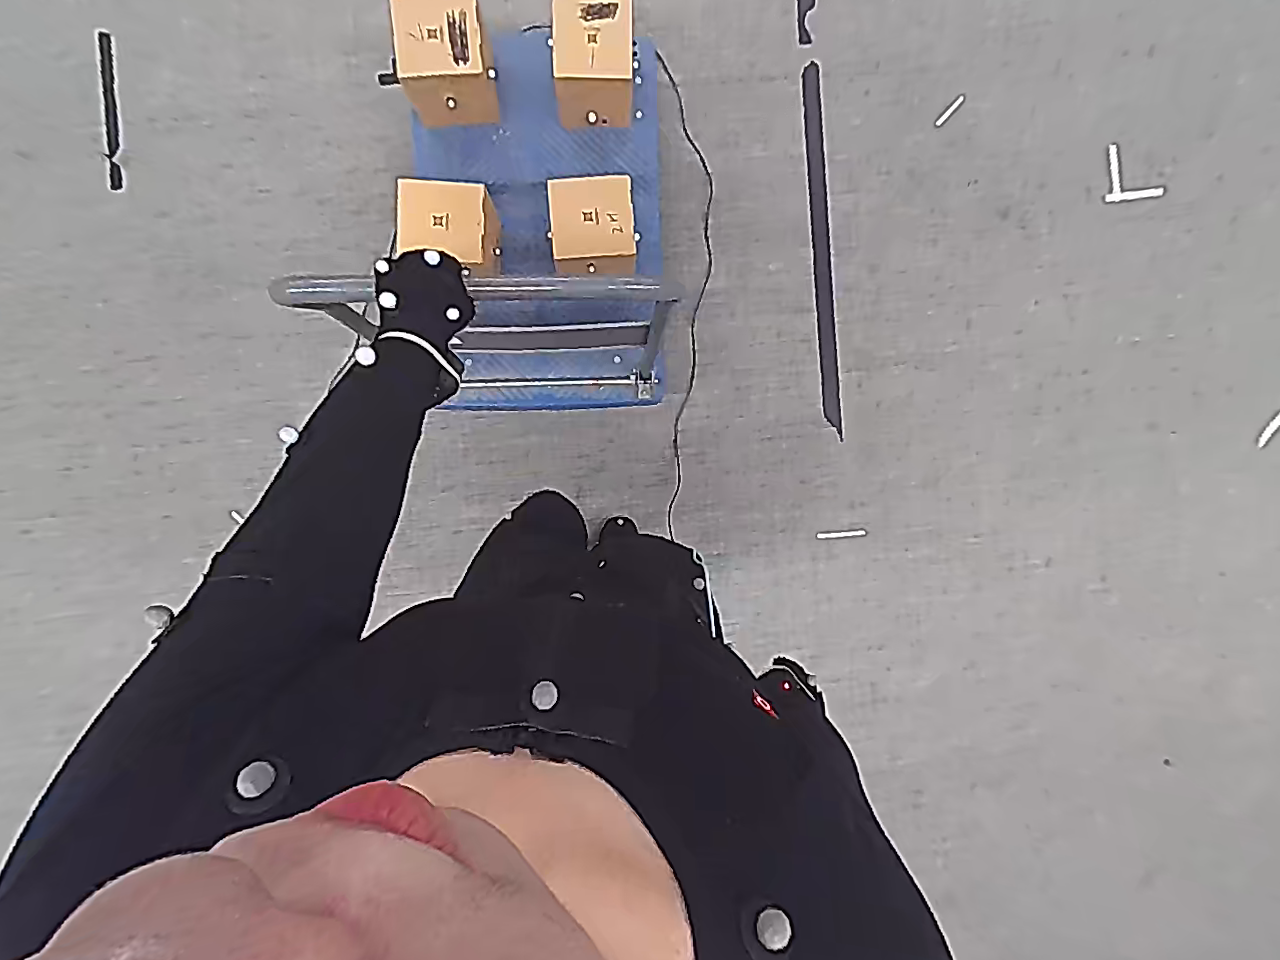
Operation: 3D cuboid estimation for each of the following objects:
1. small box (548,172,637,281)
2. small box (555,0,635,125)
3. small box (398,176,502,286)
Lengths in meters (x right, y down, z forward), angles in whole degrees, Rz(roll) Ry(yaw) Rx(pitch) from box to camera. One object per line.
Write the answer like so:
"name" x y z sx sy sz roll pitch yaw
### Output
"small box" -0.100 -0.552 1.198 0.179 0.176 0.168 -5 92 -2
"small box" -0.098 -0.922 1.186 0.168 0.176 0.179 0 93 -3
"small box" -0.409 -0.536 1.184 0.179 0.176 0.168 1 91 -5
